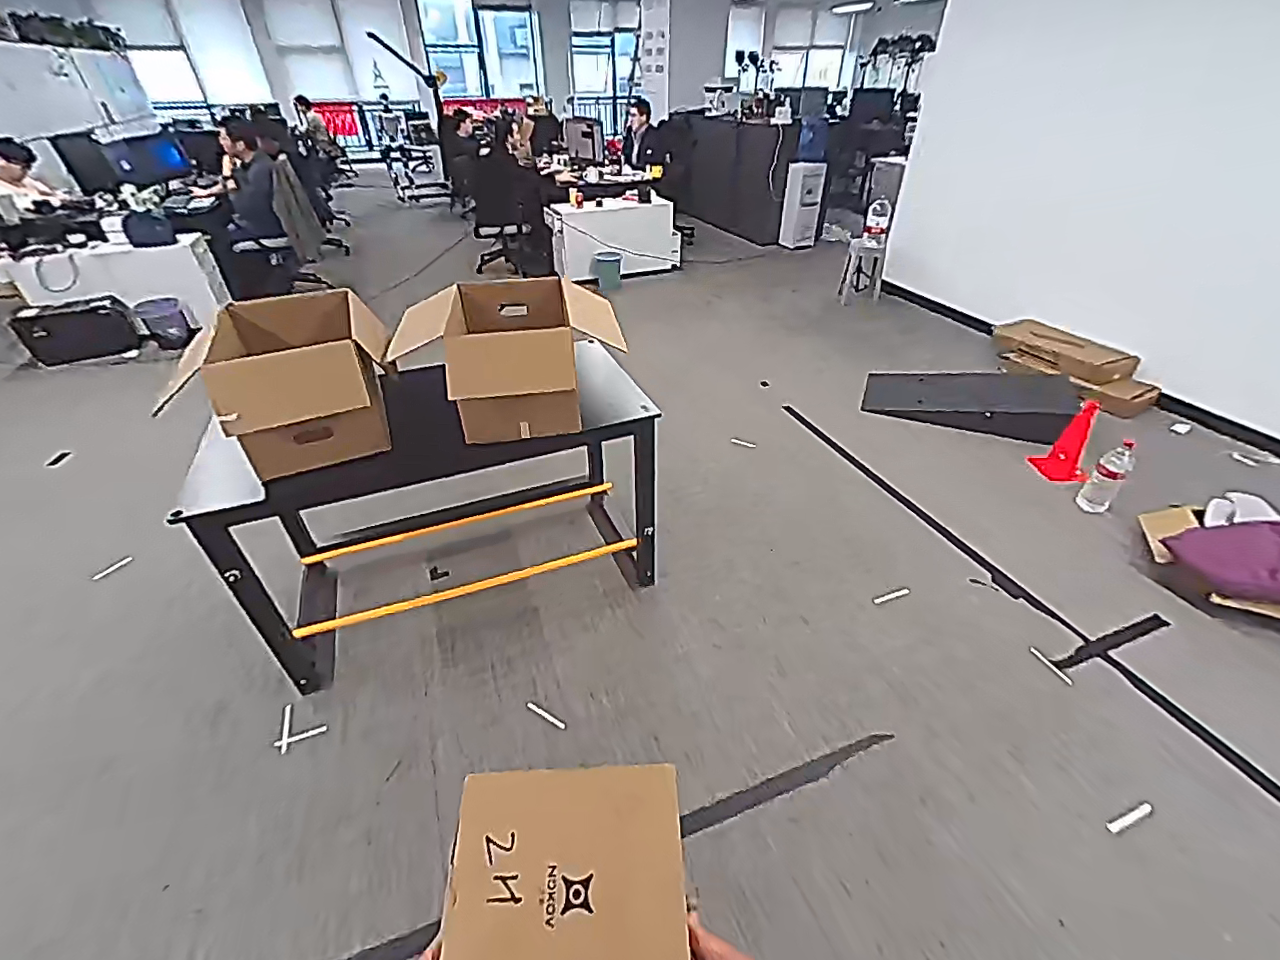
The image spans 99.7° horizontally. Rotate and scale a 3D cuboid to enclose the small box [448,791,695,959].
[{"bbox_3d":[-0.050,0.372,0.454,0.179,0.176,0.168,-2,49,-1],"label":"small box"}]
